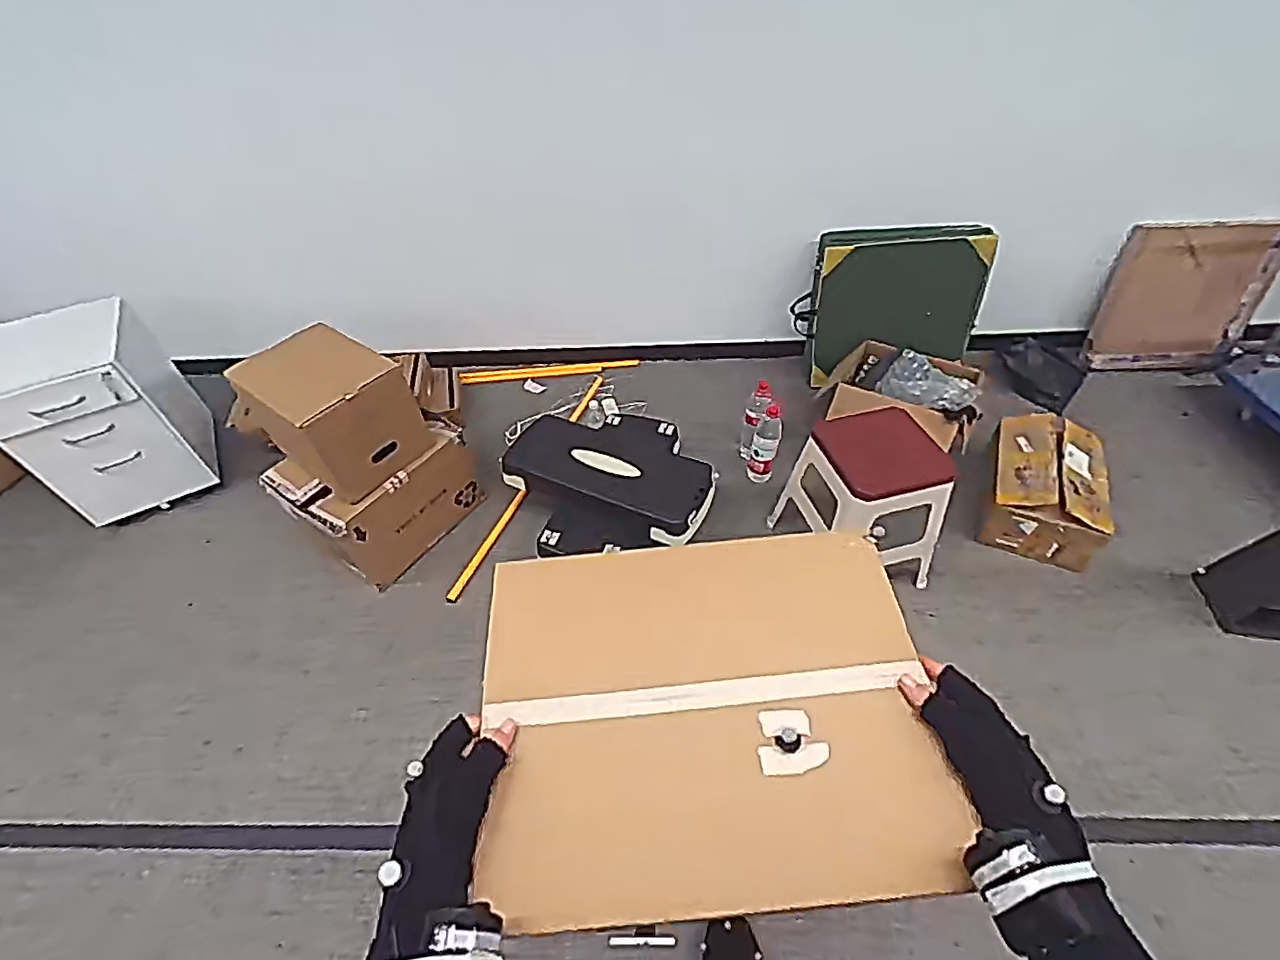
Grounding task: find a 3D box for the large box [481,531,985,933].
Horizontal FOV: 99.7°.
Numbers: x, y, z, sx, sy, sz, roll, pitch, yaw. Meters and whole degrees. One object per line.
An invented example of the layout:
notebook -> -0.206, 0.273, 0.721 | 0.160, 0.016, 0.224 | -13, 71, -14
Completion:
large box -> 0.065, 0.287, 0.621 | 0.408, 0.320, 0.320 | -6, 54, -1
